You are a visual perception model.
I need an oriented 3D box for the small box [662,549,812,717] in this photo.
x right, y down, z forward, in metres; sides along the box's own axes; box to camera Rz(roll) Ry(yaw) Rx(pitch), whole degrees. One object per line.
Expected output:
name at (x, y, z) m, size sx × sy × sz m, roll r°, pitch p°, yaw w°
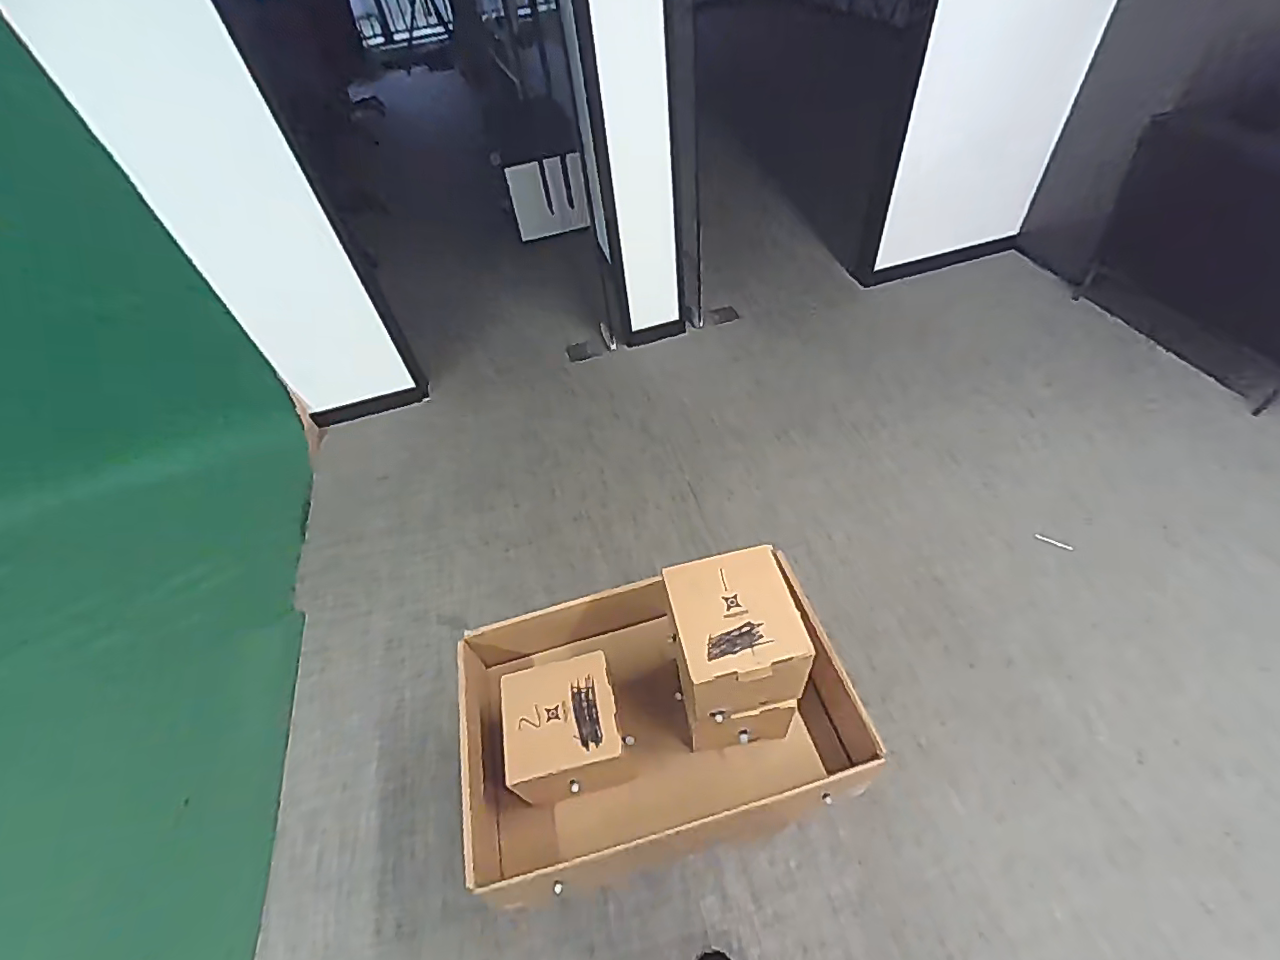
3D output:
small box at (0.136, 0.233, 0.802) m, size 0.168 × 0.176 × 0.179 m, roll -12°, pitch 48°, yaw -4°
